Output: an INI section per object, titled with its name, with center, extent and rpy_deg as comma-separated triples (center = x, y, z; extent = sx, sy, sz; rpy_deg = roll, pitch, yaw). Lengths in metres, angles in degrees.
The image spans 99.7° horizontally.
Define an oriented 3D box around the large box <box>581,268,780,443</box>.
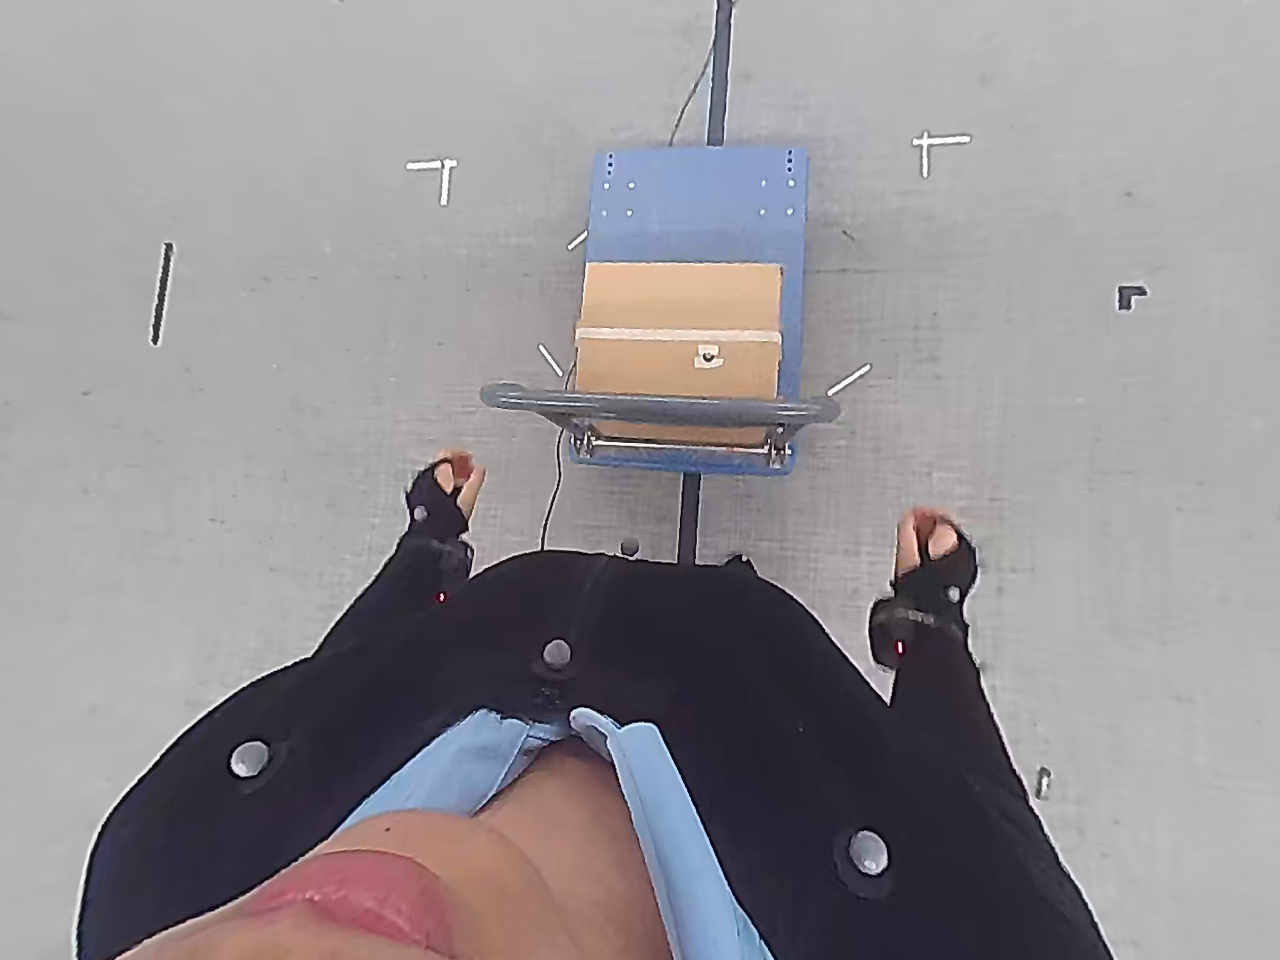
[large box]
center = 0.096, -0.268, 1.252
extent = 0.408, 0.320, 0.320
rpy_deg = 3, 84, 7
